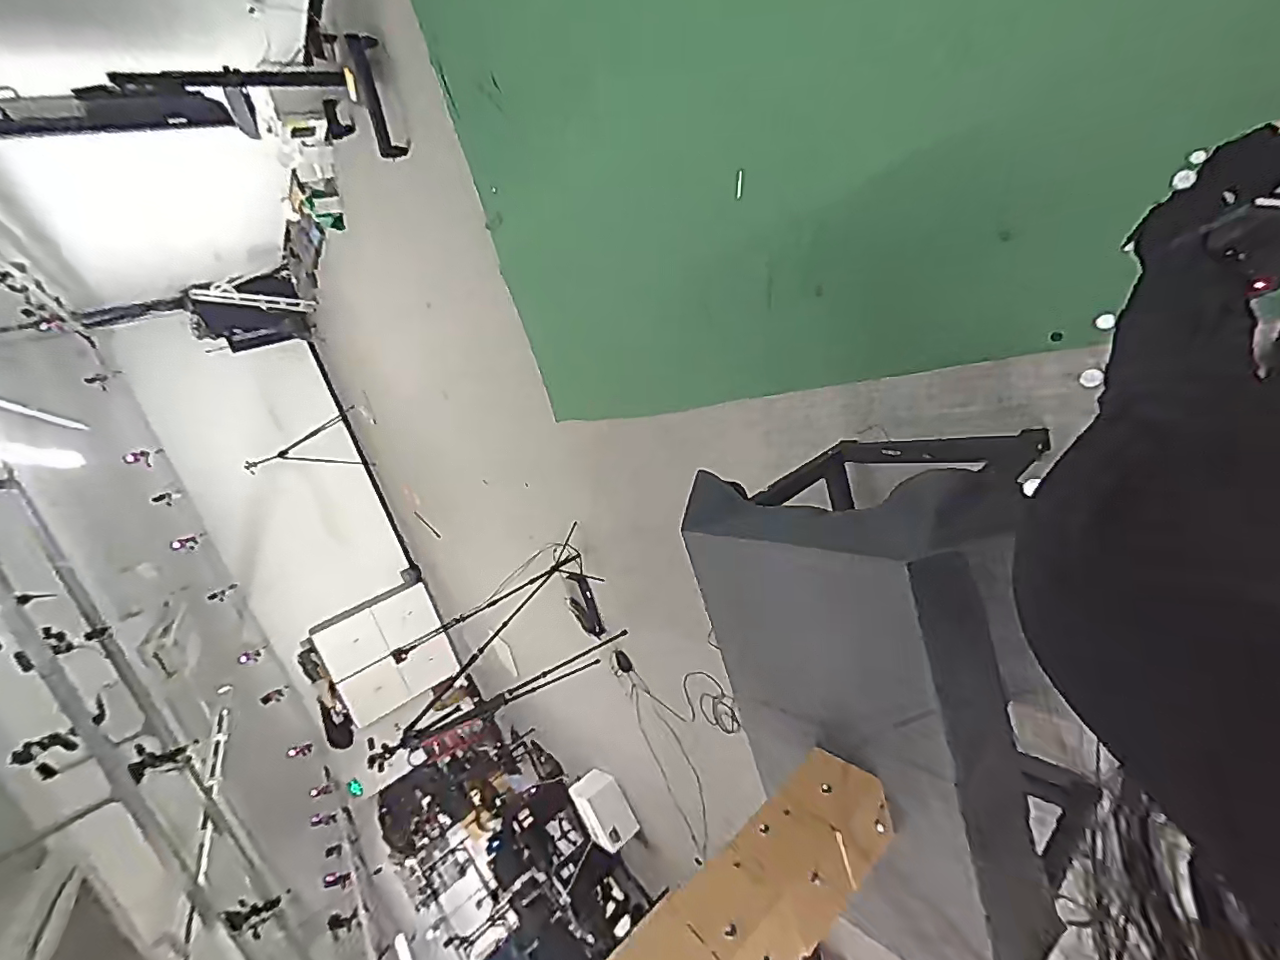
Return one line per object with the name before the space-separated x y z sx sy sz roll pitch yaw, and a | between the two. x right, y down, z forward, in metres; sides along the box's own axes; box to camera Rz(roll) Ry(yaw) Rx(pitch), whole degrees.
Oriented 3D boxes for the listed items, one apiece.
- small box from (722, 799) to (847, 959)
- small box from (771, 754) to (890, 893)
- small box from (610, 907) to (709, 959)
small box | 0.307 0.827 1.143 0.168 0.176 0.179 -1 111 56
small box | 0.432 0.763 1.226 0.179 0.176 0.168 2 114 54
small box | 0.046 0.949 0.989 0.179 0.176 0.168 0 112 55
